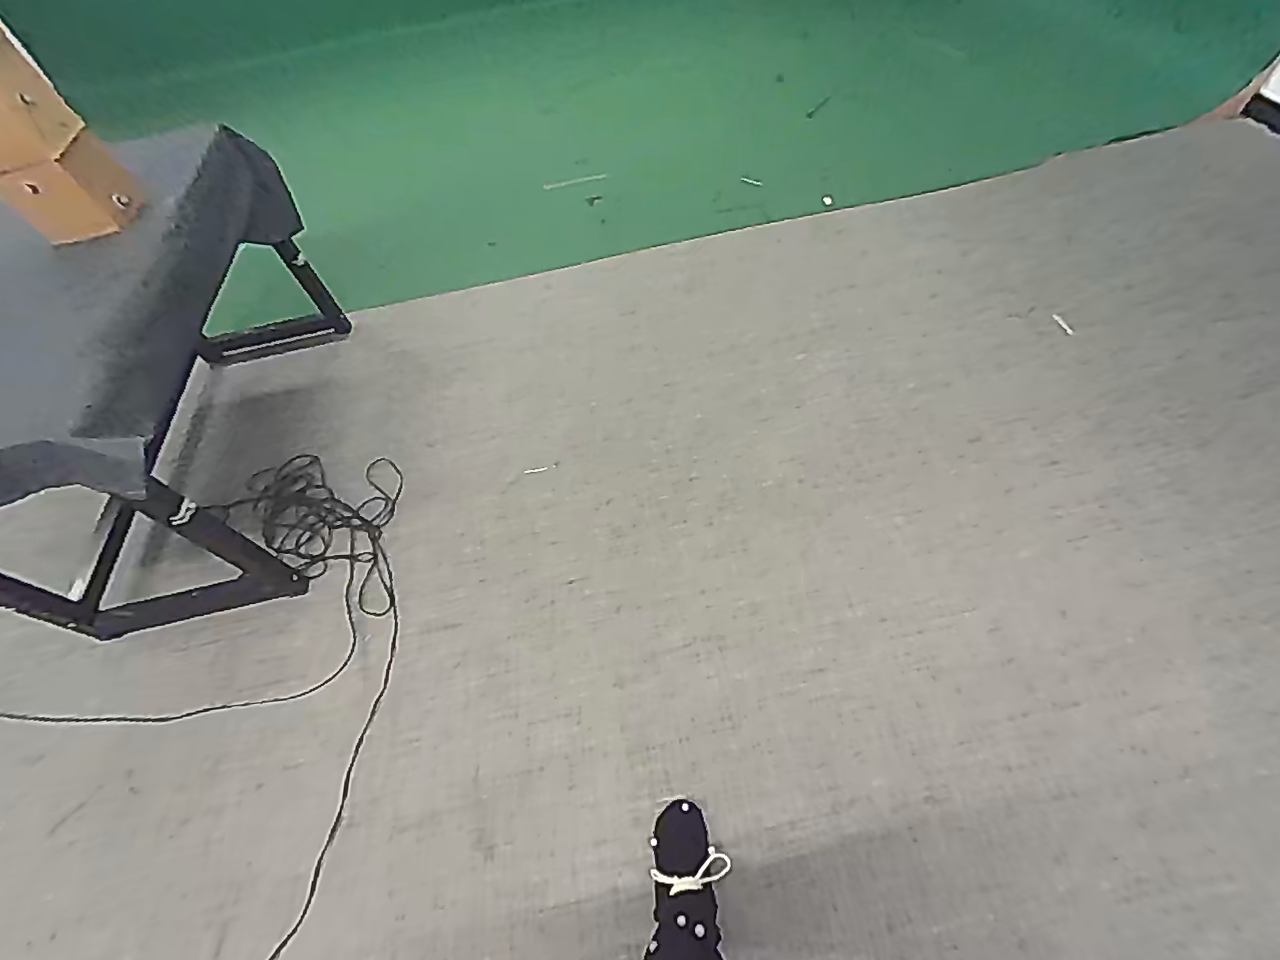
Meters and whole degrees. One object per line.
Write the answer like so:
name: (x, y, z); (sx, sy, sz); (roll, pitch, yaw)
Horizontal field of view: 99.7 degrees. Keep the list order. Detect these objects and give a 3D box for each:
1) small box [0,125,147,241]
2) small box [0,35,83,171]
small box: (-1.314, -0.677, 1.246); (0.179, 0.176, 0.168); (-12, 57, -1)
small box: (-1.324, -0.763, 1.108); (0.179, 0.176, 0.168); (-13, 57, 0)
